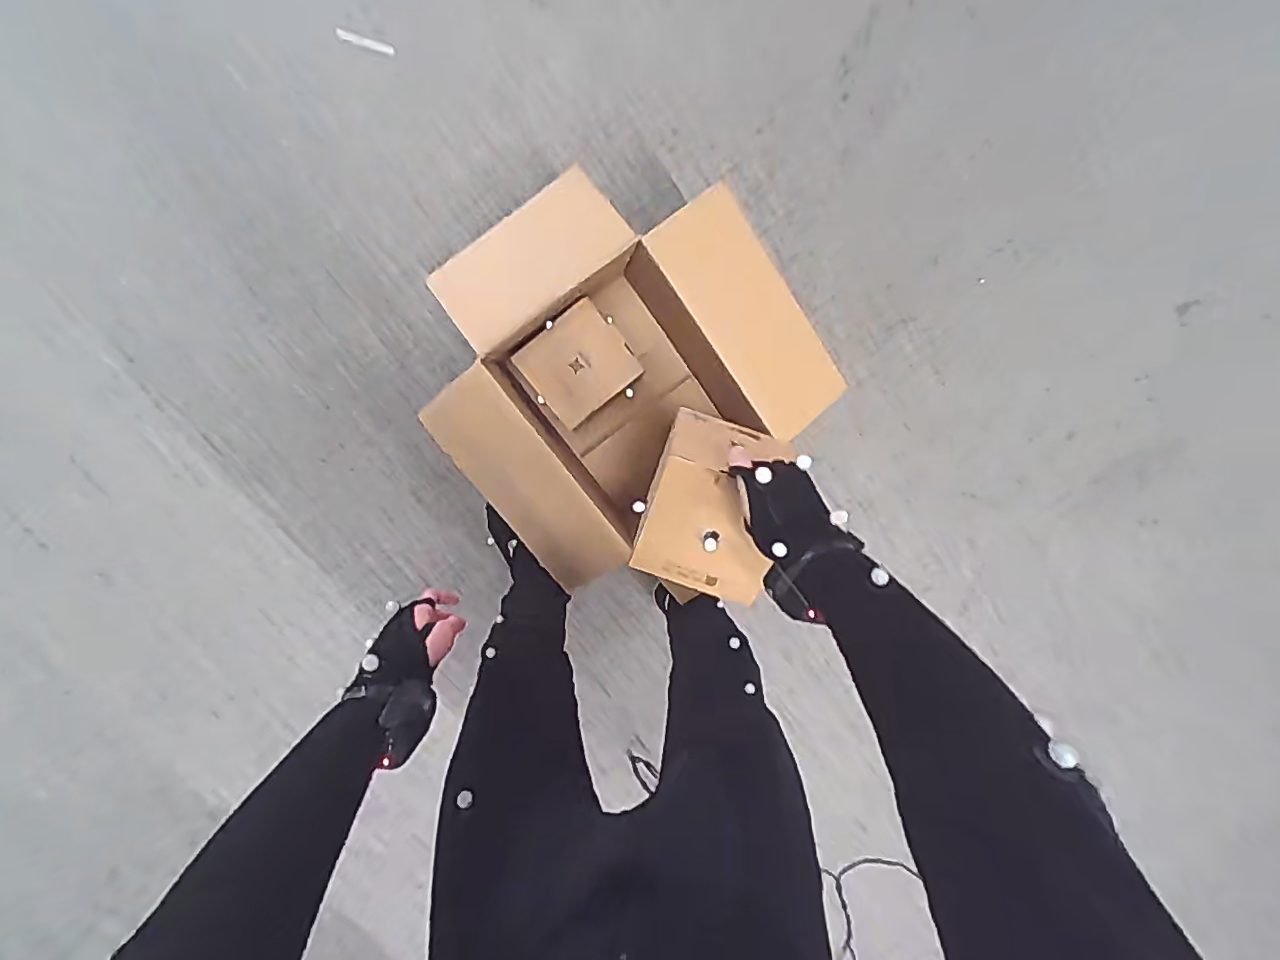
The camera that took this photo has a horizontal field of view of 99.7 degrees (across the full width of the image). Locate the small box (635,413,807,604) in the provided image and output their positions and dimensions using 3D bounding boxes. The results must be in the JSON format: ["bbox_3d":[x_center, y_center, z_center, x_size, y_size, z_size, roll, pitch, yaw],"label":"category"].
[{"bbox_3d":[0.100,0.036,0.721,0.168,0.179,0.176,19,115,-2],"label":"small box"}]
